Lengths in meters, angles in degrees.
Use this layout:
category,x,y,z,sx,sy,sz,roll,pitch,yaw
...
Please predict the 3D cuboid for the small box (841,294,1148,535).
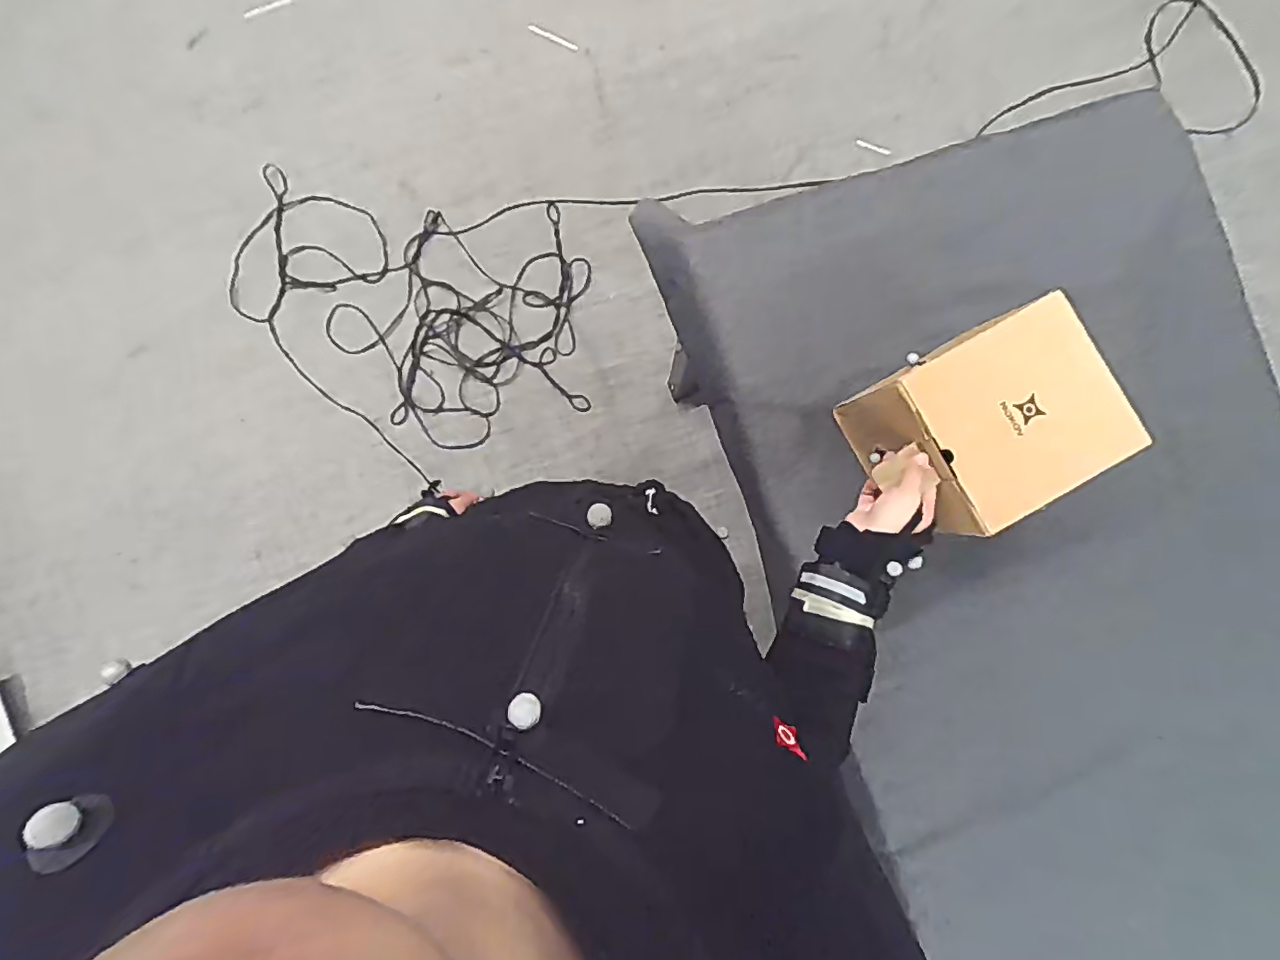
category,x,y,z,sx,sy,sz,roll,pitch,yaw
small box,0.351,-0.060,0.572,0.179,0.176,0.168,-30,89,-1
